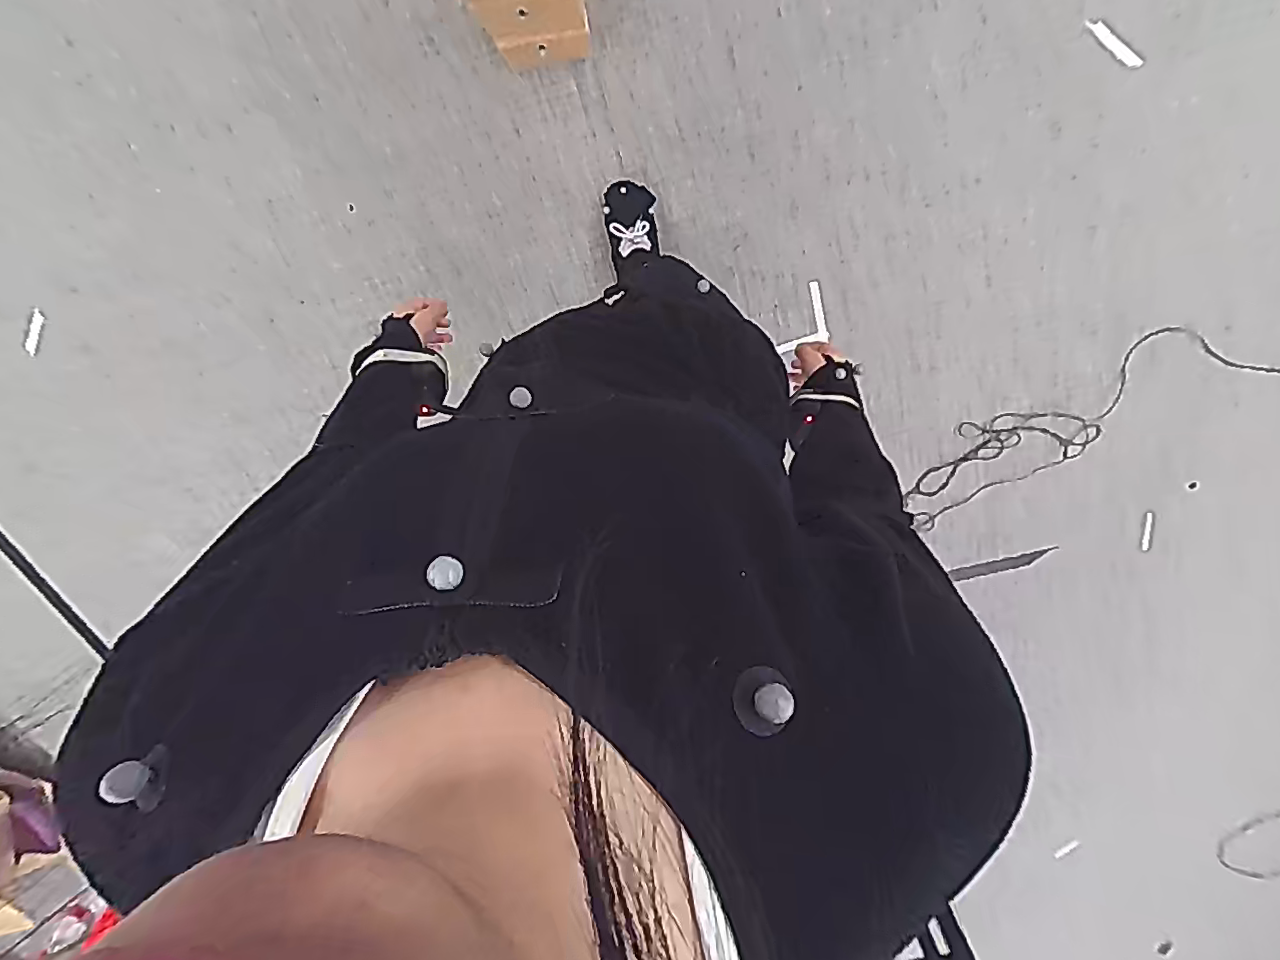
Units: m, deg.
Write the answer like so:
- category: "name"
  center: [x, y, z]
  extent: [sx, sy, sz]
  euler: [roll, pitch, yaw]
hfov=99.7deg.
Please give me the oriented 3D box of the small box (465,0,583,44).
- category: "small box"
  center: [-0.197, -0.859, 0.903]
  extent: [0.179, 0.176, 0.168]
  euler: [-5, 116, 2]

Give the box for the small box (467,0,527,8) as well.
- category: "small box"
  center: [-0.197, -0.797, 0.753]
  extent: [0.179, 0.176, 0.168]
  euler: [-8, 116, 2]

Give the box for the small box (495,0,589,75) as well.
- category: "small box"
  center: [-0.197, -0.920, 1.055]
  extent: [0.179, 0.176, 0.168]
  euler: [-8, 115, 3]
